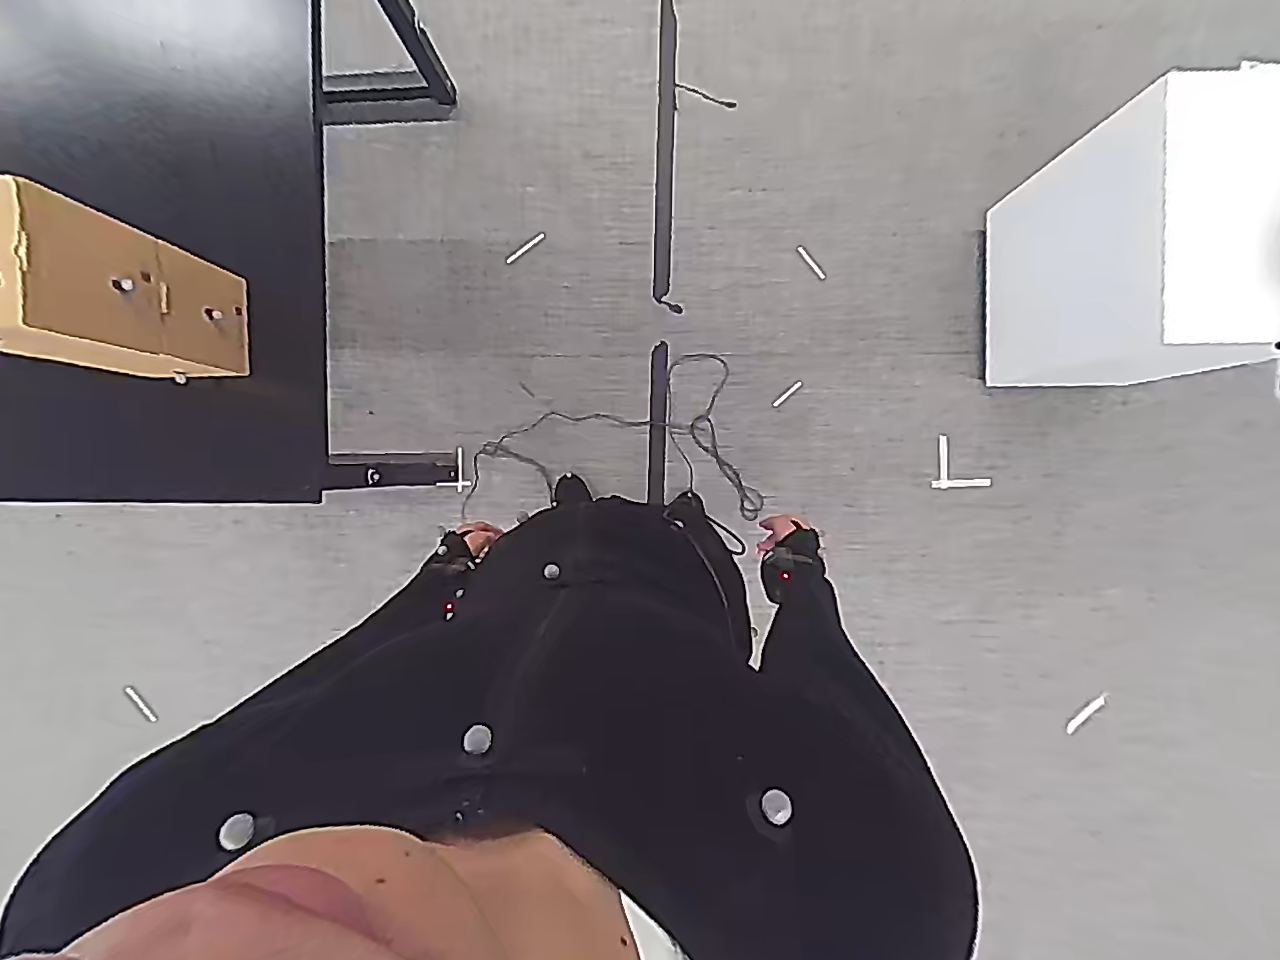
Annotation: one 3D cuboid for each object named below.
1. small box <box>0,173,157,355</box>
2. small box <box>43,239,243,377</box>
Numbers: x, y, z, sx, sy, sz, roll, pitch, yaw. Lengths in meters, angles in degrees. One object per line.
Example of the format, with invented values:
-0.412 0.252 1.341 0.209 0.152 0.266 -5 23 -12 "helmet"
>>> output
-0.758 -0.252 0.670 0.179 0.176 0.168 -1 92 1 "small box"
-0.752 -0.256 0.835 0.179 0.176 0.168 -1 91 1 "small box"
